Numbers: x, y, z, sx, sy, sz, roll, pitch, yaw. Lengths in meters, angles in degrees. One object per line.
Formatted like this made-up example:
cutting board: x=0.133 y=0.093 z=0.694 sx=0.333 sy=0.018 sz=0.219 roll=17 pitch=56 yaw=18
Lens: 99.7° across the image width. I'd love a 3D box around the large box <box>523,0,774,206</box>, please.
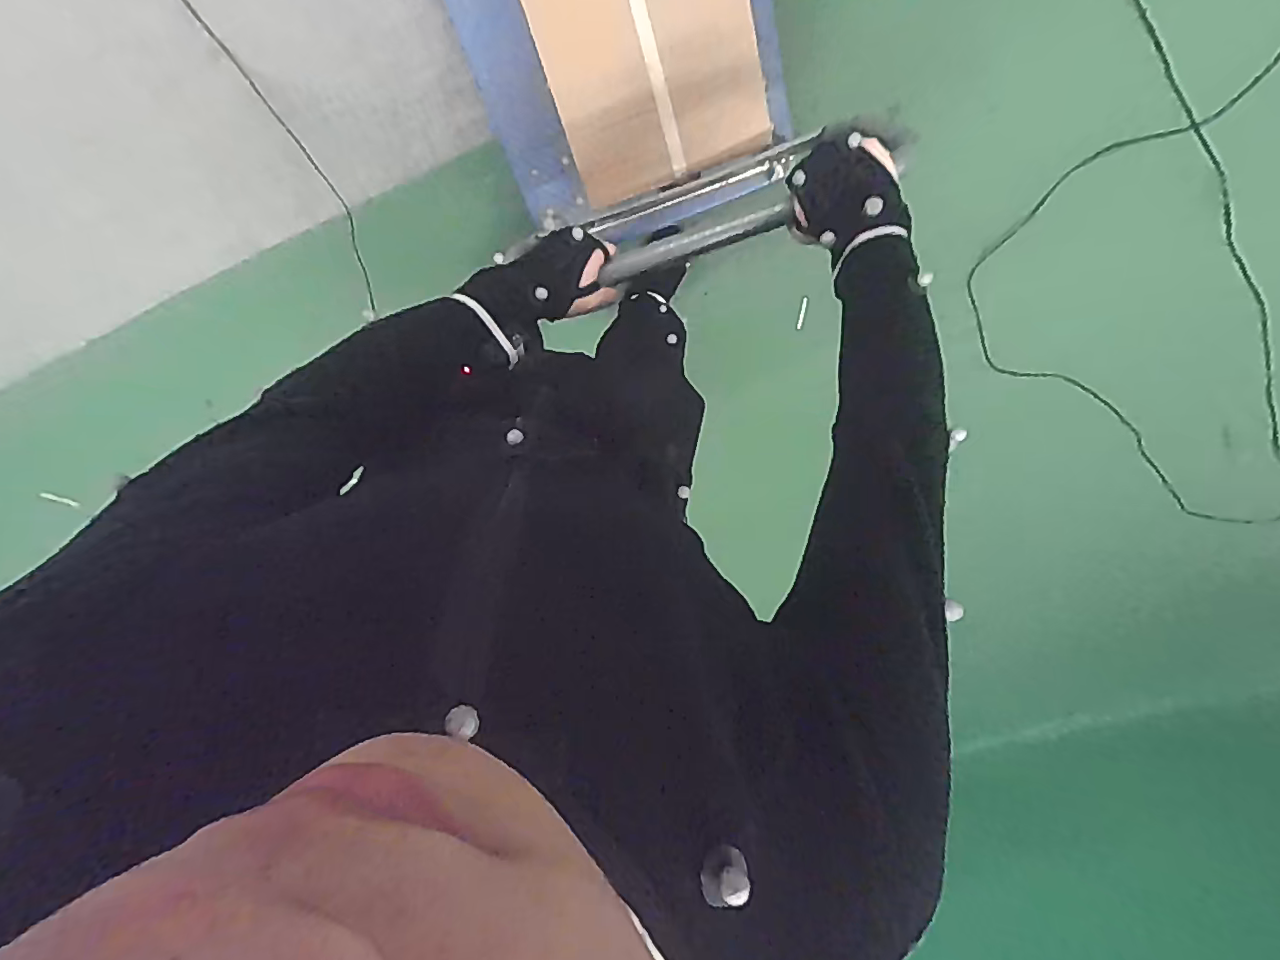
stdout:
large box: x=0.005 y=-0.739 z=0.918 sx=0.320 sy=0.320 sz=0.408 roll=-17 pitch=120 yaw=8
